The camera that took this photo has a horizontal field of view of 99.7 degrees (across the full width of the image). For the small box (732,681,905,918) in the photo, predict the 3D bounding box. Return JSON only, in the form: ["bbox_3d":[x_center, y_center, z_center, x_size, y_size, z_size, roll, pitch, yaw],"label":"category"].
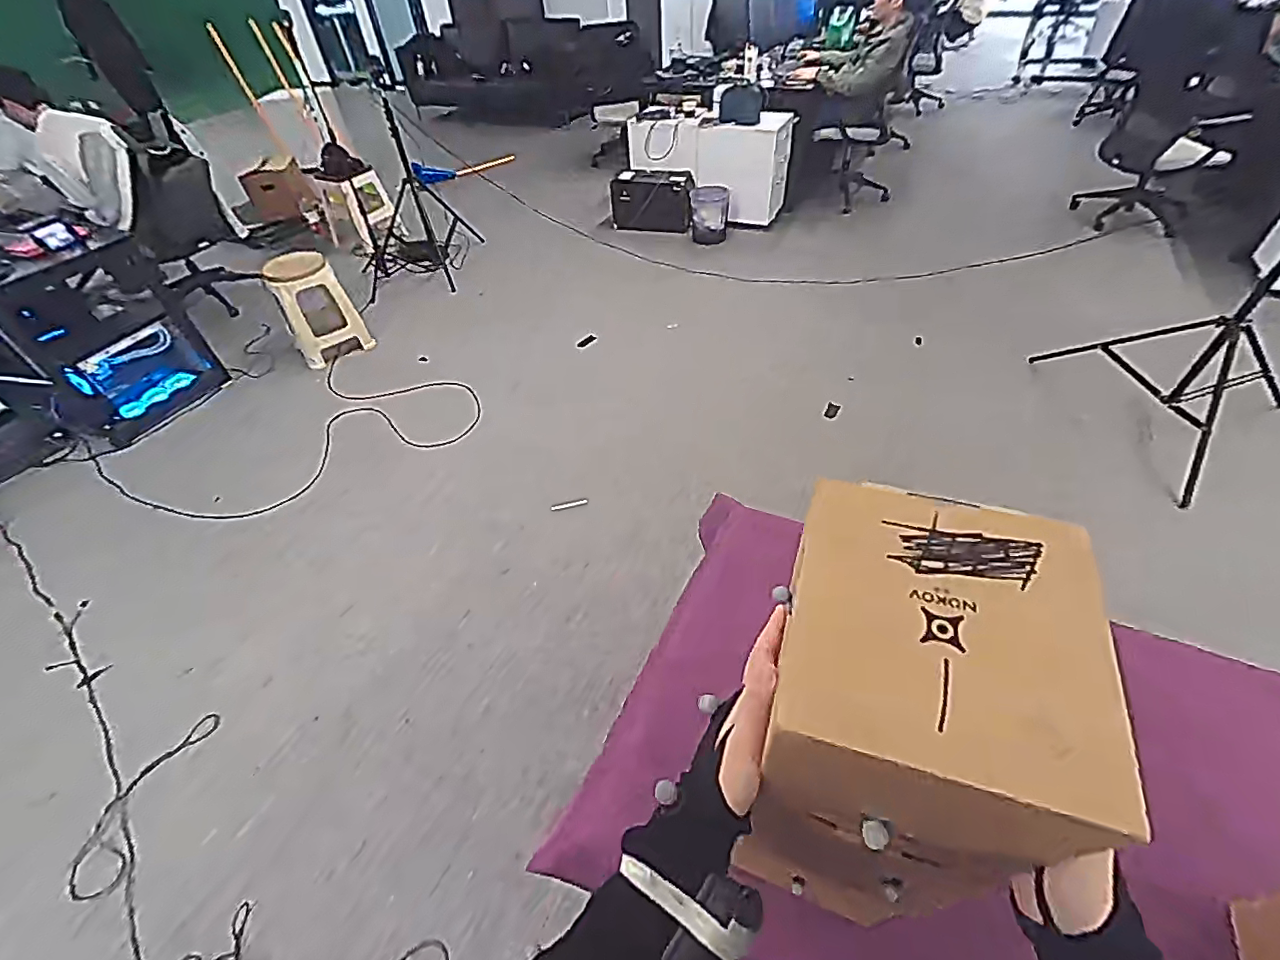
[{"bbox_3d":[0.207,0.362,0.620,0.168,0.176,0.179,15,48,17],"label":"small box"}]

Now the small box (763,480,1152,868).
[{"bbox_3d":[0.183,0.131,0.369,0.168,0.176,0.179,11,53,16],"label":"small box"}]

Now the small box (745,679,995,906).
[{"bbox_3d":[0.199,0.254,0.499,0.168,0.176,0.179,14,48,15],"label":"small box"}]
